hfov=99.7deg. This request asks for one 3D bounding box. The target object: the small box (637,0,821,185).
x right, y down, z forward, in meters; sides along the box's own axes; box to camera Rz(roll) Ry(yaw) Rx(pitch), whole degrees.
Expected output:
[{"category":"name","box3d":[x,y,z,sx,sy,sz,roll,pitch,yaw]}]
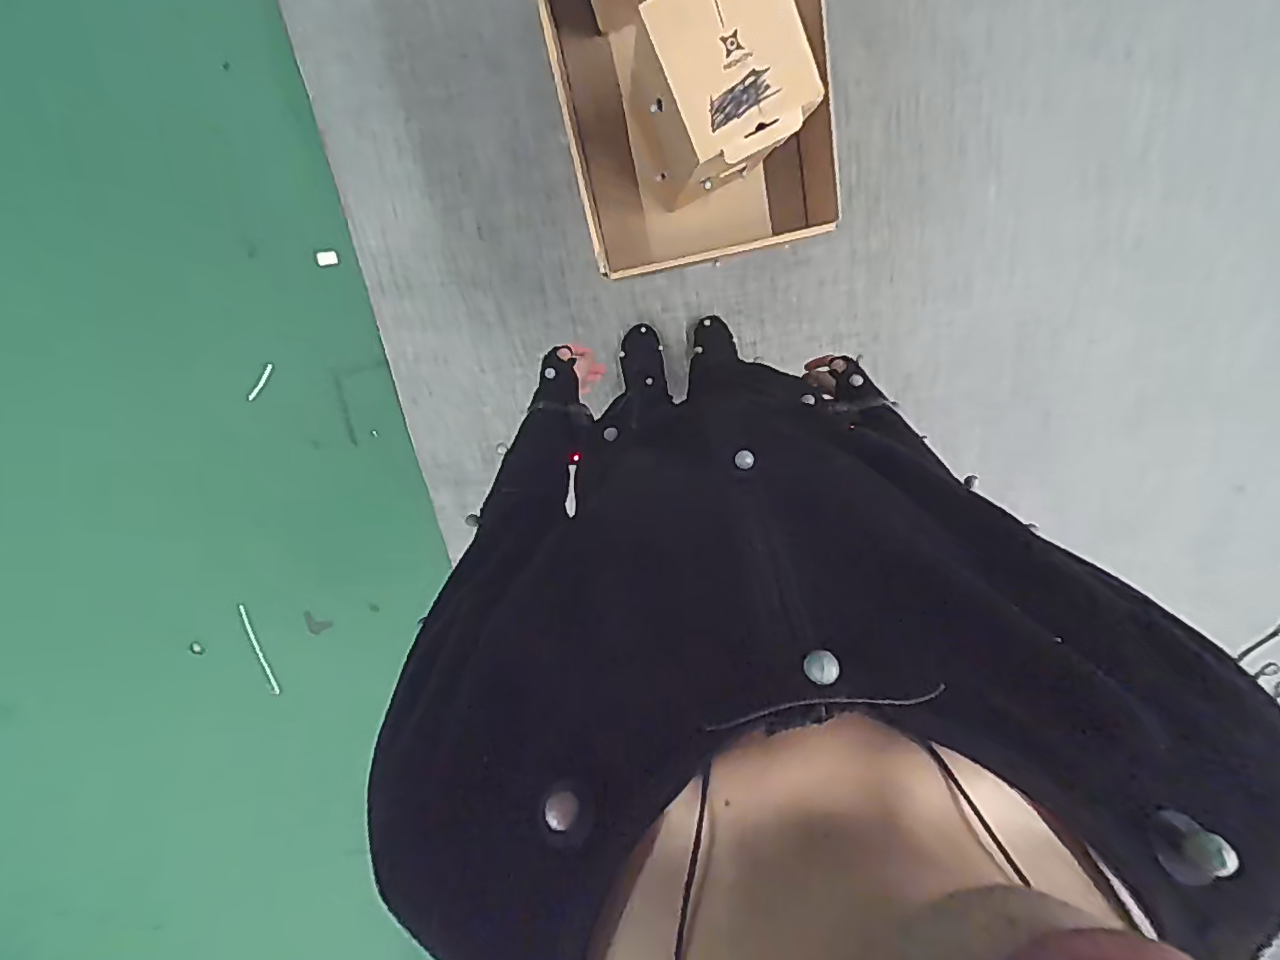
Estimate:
[{"category":"small box","box3d":[0.105,-0.511,0.701,0.168,0.176,0.179,-25,105,5]}]

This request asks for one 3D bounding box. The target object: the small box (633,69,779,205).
[{"category":"small box","box3d":[0.098,-0.560,0.857,0.168,0.176,0.179,-25,105,5]}]
